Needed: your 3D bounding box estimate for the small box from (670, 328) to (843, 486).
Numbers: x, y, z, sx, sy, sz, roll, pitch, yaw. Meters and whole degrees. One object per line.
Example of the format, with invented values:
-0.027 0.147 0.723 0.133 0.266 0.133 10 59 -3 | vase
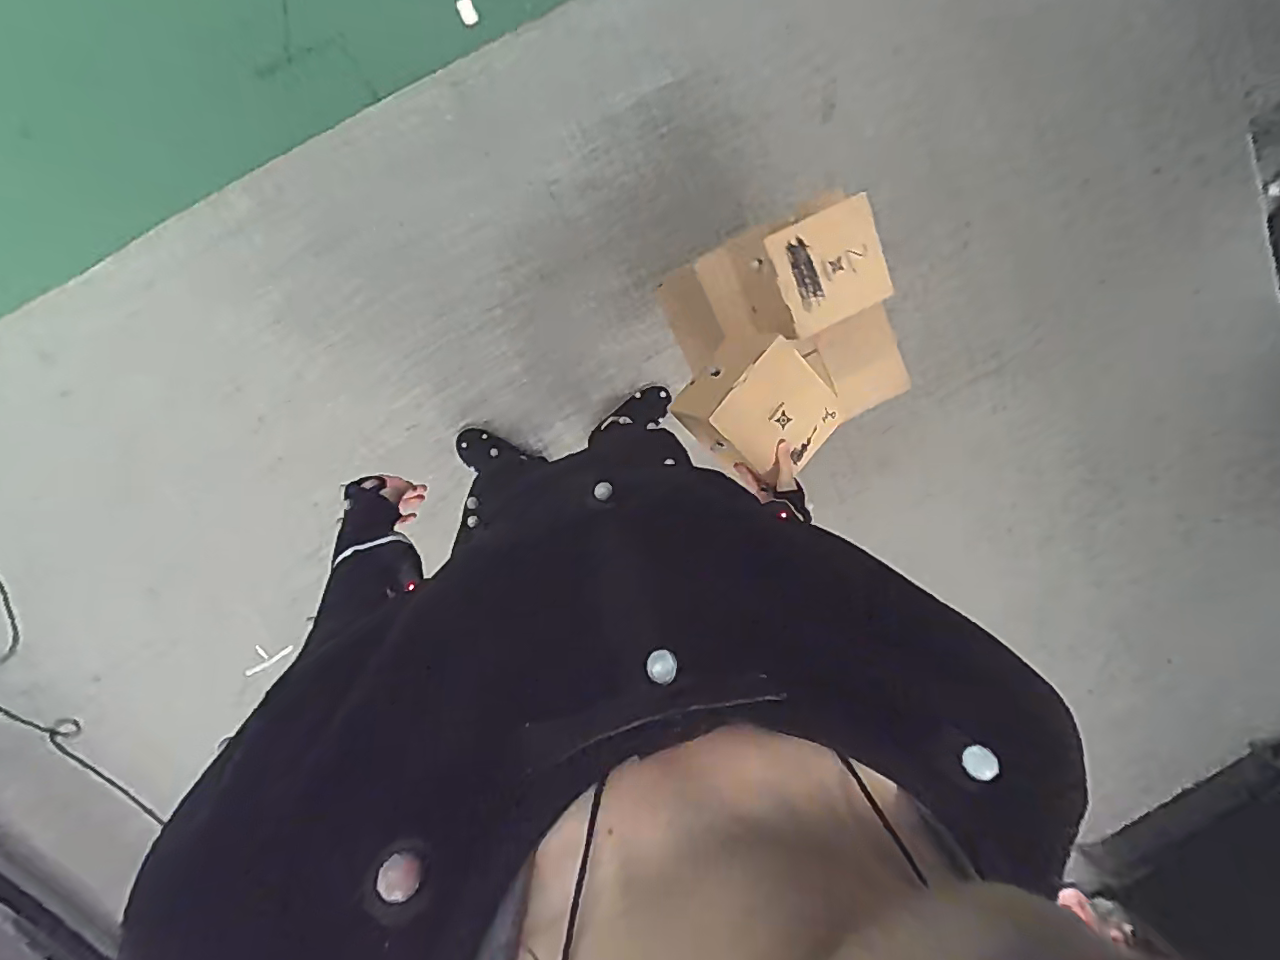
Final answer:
0.175 -0.117 0.864 0.179 0.176 0.168 41 89 -20 | small box
